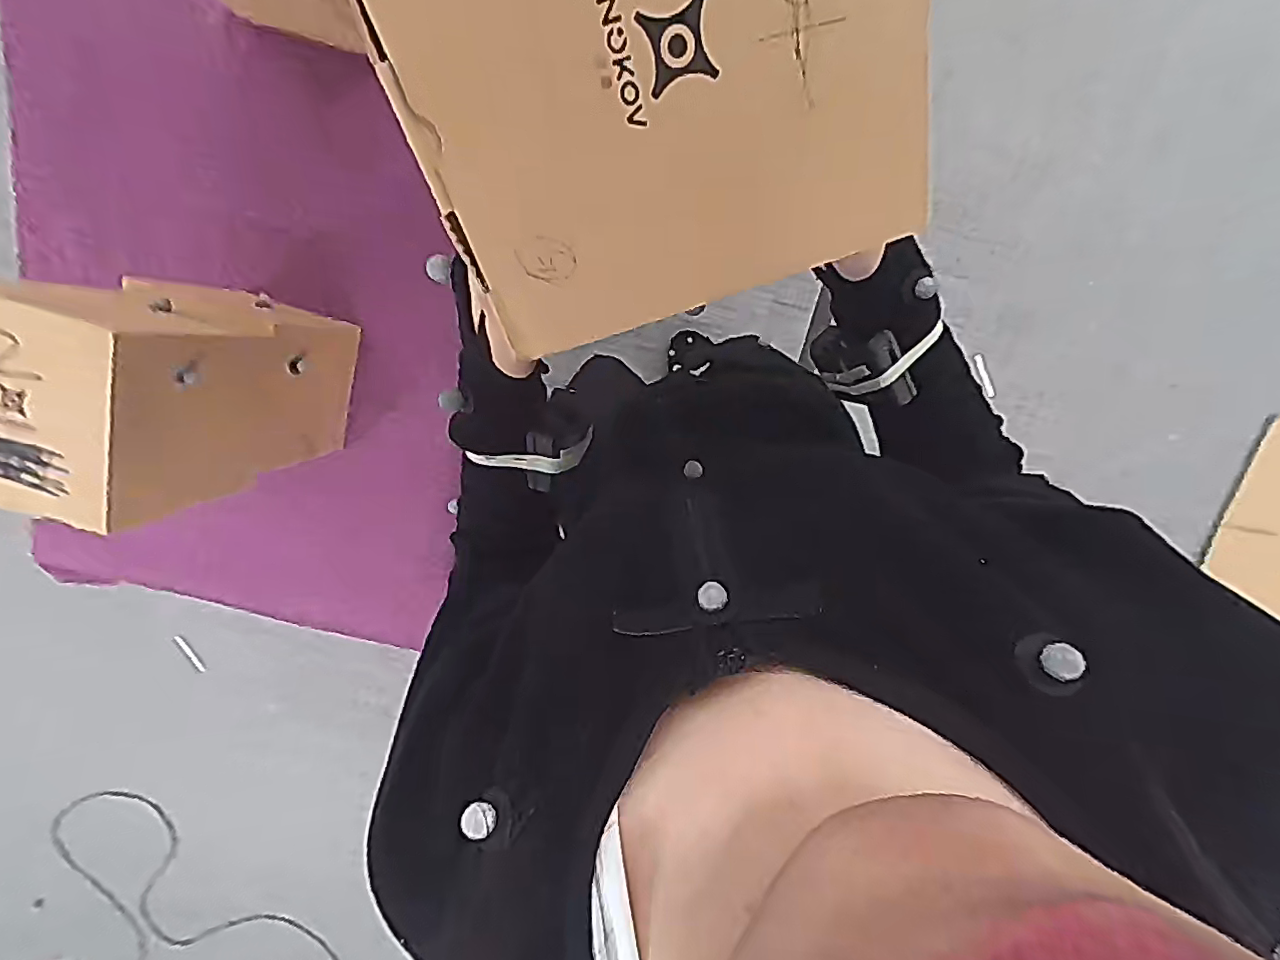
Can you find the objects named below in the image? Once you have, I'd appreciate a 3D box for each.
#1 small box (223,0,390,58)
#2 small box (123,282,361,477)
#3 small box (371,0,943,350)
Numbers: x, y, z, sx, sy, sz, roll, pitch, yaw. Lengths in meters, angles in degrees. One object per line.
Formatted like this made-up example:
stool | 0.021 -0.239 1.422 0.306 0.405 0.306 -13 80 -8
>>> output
small box | -0.368 -0.575 0.548 0.179 0.176 0.168 16 105 -1
small box | -0.473 -0.125 0.666 0.168 0.176 0.179 17 105 0
small box | 0.003 -0.183 0.243 0.179 0.176 0.168 -19 122 3
